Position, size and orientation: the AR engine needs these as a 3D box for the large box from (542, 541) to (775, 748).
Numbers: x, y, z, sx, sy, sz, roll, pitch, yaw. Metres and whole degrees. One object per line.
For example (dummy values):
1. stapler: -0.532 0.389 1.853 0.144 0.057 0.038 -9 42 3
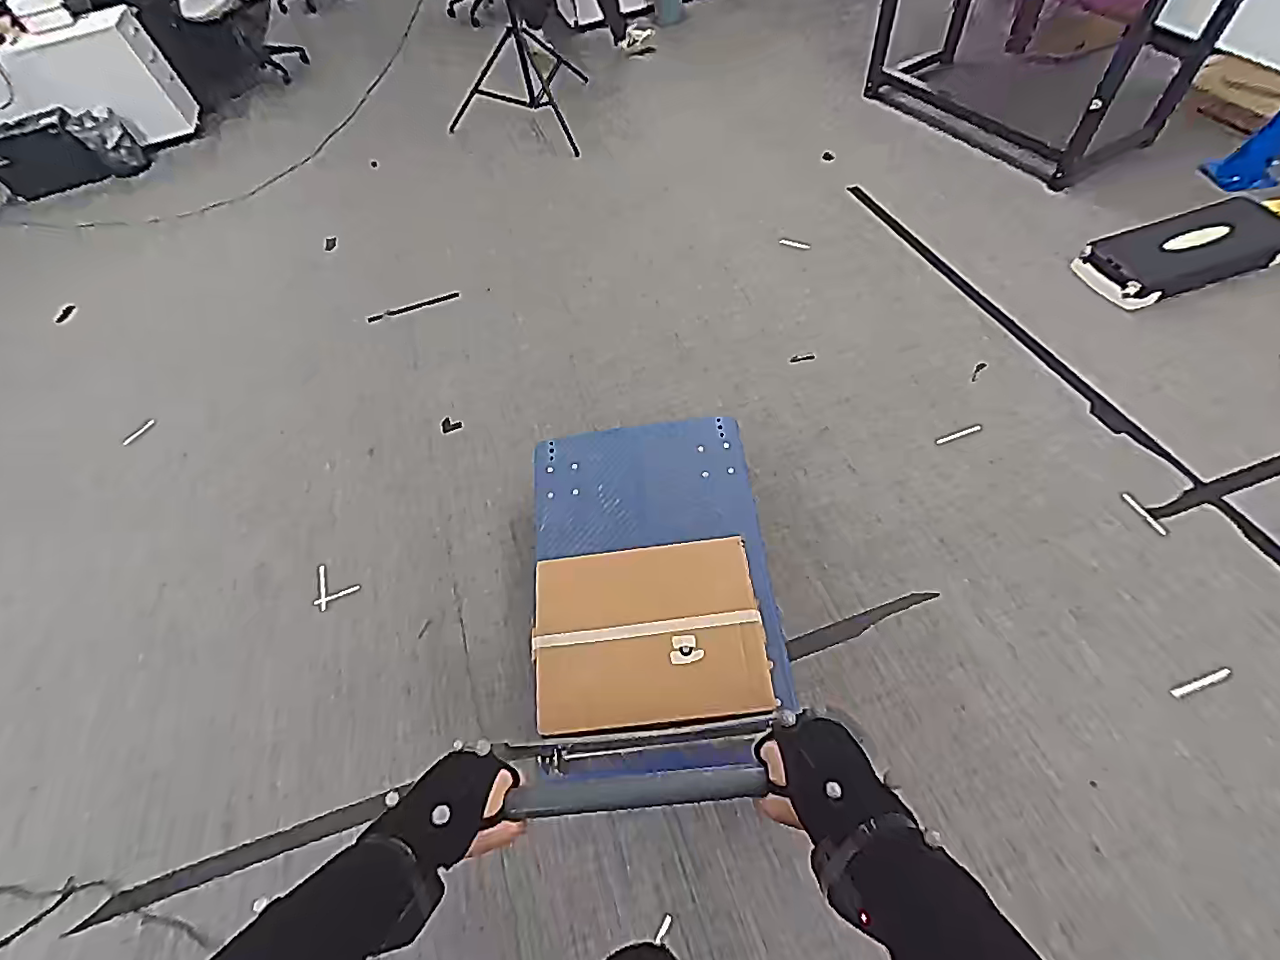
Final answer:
1. large box: 0.030 0.352 1.118 0.408 0.320 0.320 -8 61 2
